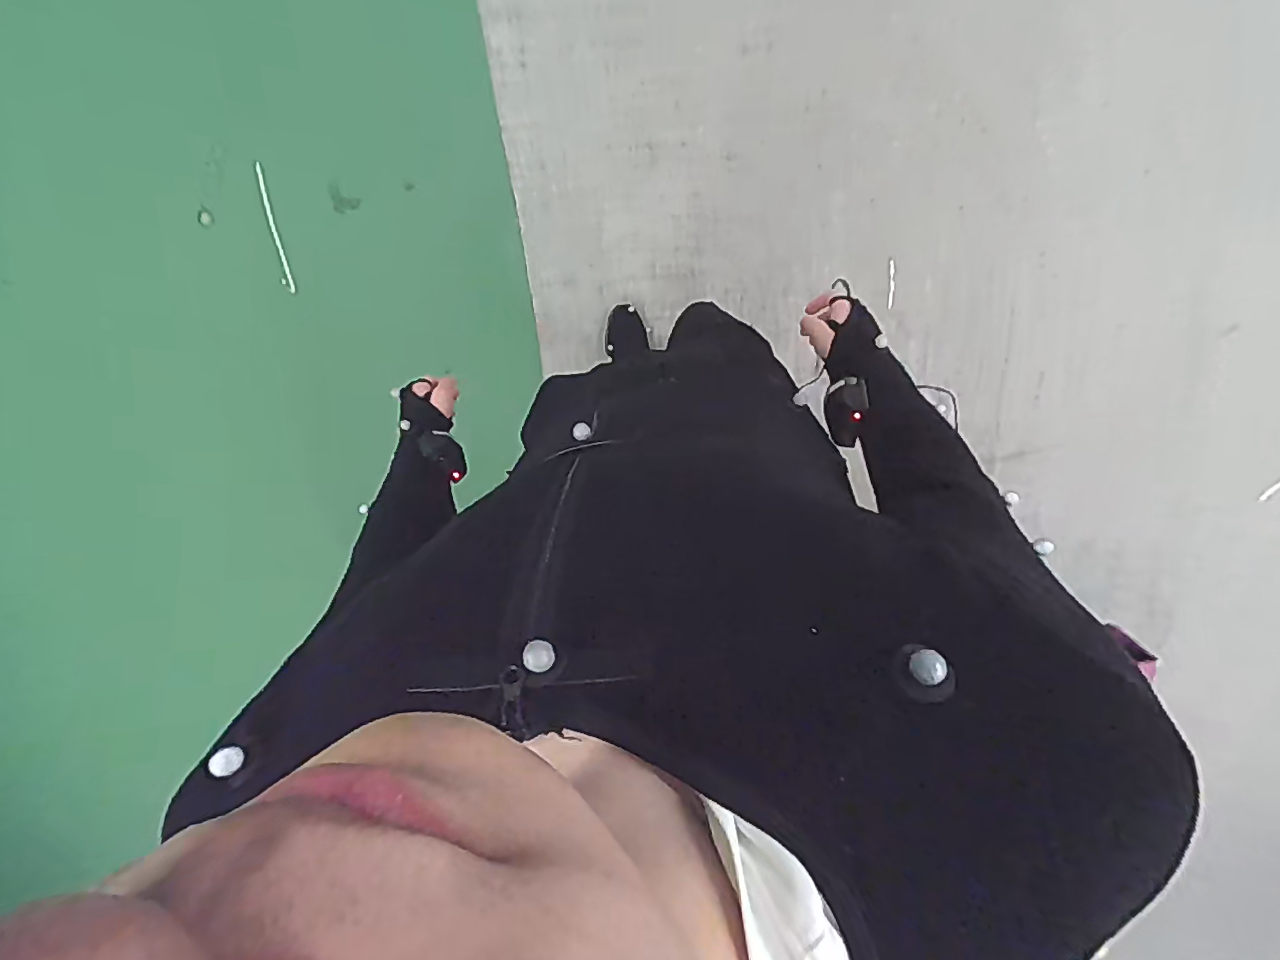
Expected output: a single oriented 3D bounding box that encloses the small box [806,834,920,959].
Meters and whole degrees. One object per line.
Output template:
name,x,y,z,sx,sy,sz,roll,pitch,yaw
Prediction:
small box,0.447,0.867,1.107,0.168,0.176,0.179,-5,108,2
